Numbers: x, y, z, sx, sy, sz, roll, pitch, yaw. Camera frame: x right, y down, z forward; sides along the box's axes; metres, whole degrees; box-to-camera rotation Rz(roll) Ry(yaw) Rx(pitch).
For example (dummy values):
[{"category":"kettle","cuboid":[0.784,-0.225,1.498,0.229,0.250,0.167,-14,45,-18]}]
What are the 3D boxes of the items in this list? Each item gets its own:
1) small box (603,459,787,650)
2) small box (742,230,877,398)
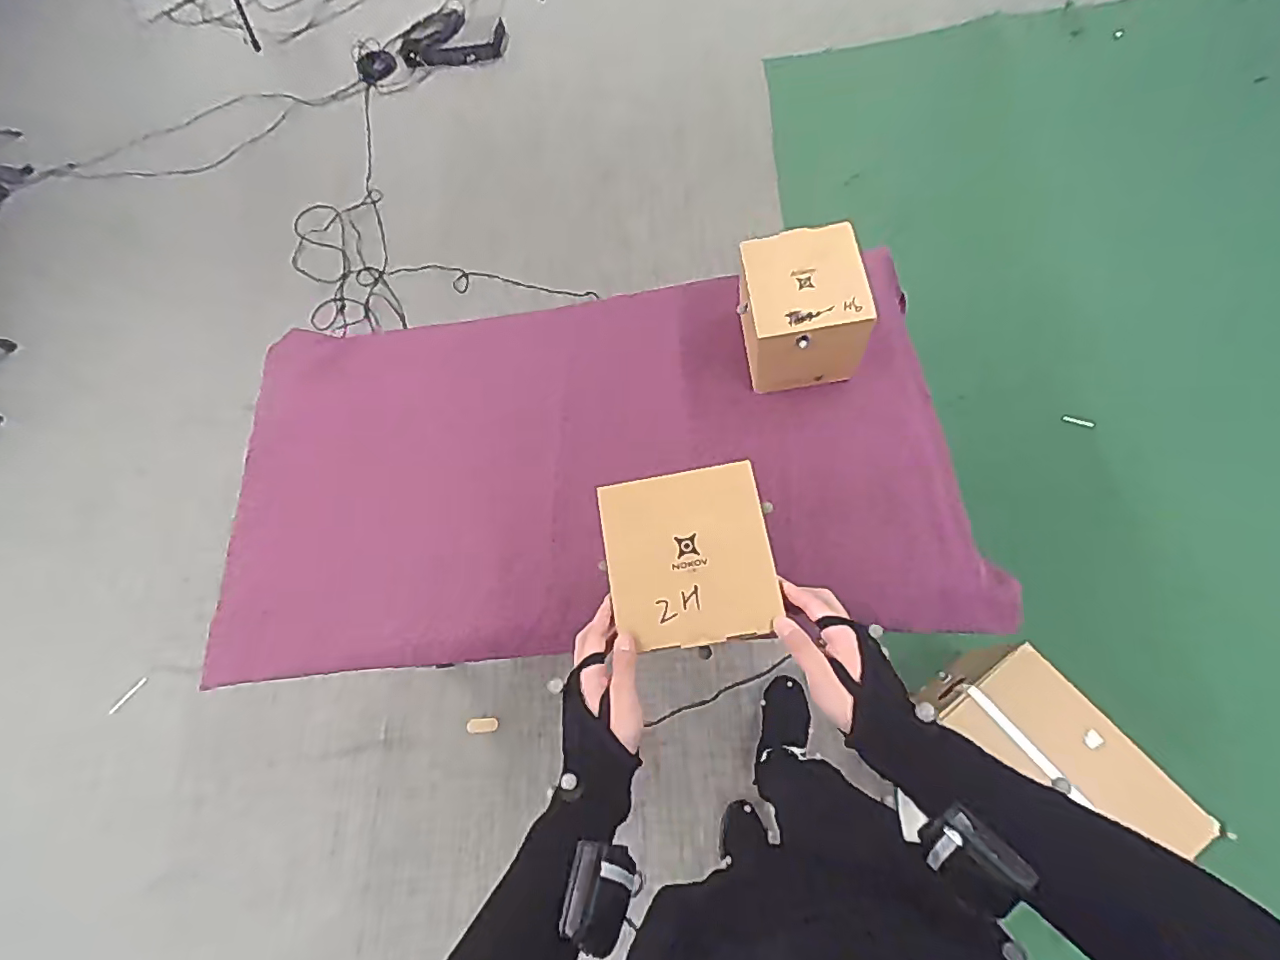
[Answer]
[{"category":"small box","cuboid":[0.059,0.095,0.621,0.168,0.176,0.179,-10,72,5]},{"category":"small box","cuboid":[0.255,-0.255,0.858,0.168,0.176,0.179,-8,68,8]}]
